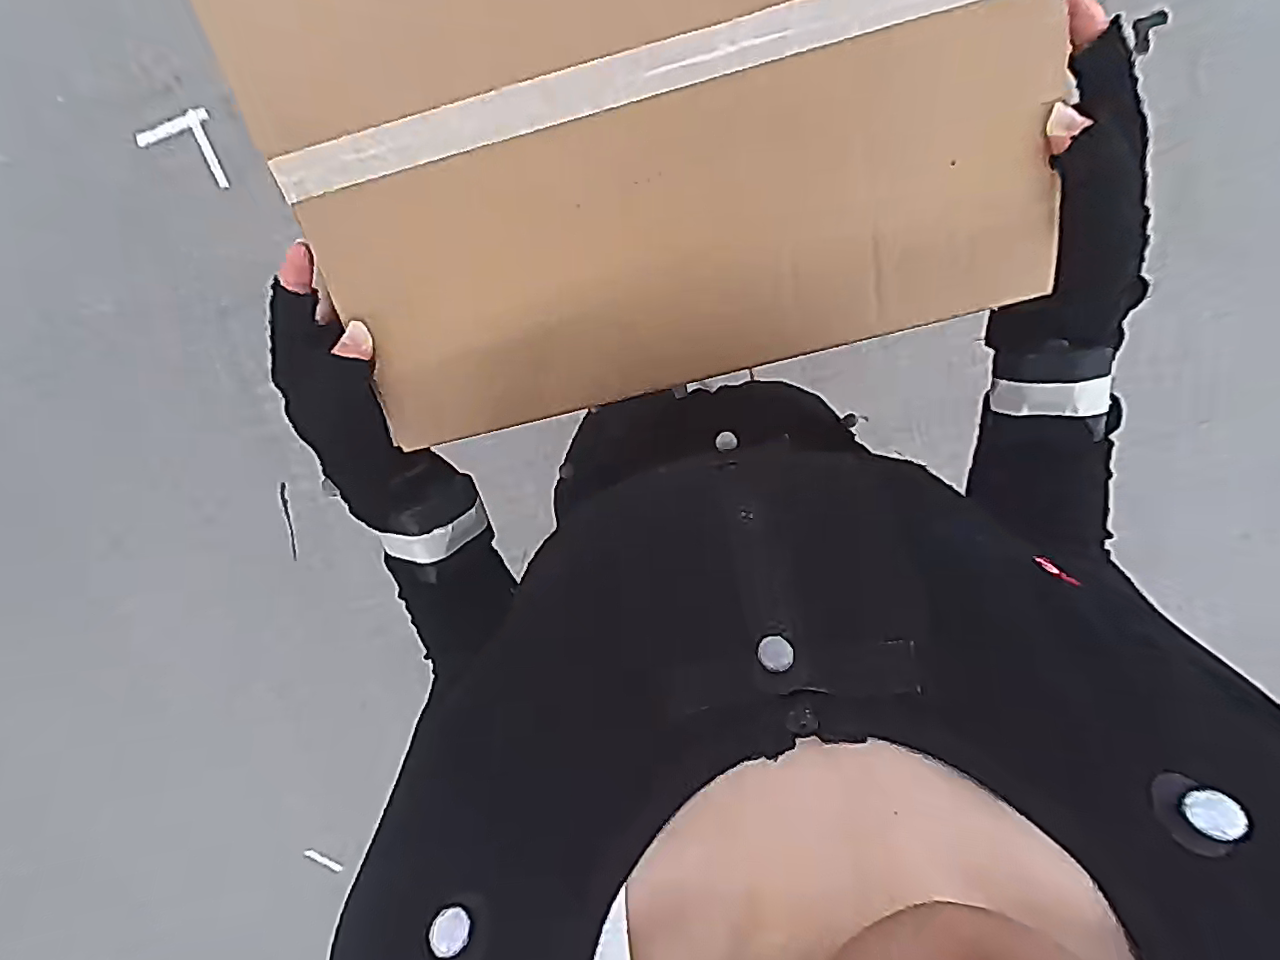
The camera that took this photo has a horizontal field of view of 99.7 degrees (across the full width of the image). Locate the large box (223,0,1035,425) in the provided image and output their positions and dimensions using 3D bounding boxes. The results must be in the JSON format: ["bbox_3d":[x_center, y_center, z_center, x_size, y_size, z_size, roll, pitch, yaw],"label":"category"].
[{"bbox_3d":[-0.001,-0.272,0.421,0.408,0.320,0.320,-13,112,4],"label":"large box"}]
